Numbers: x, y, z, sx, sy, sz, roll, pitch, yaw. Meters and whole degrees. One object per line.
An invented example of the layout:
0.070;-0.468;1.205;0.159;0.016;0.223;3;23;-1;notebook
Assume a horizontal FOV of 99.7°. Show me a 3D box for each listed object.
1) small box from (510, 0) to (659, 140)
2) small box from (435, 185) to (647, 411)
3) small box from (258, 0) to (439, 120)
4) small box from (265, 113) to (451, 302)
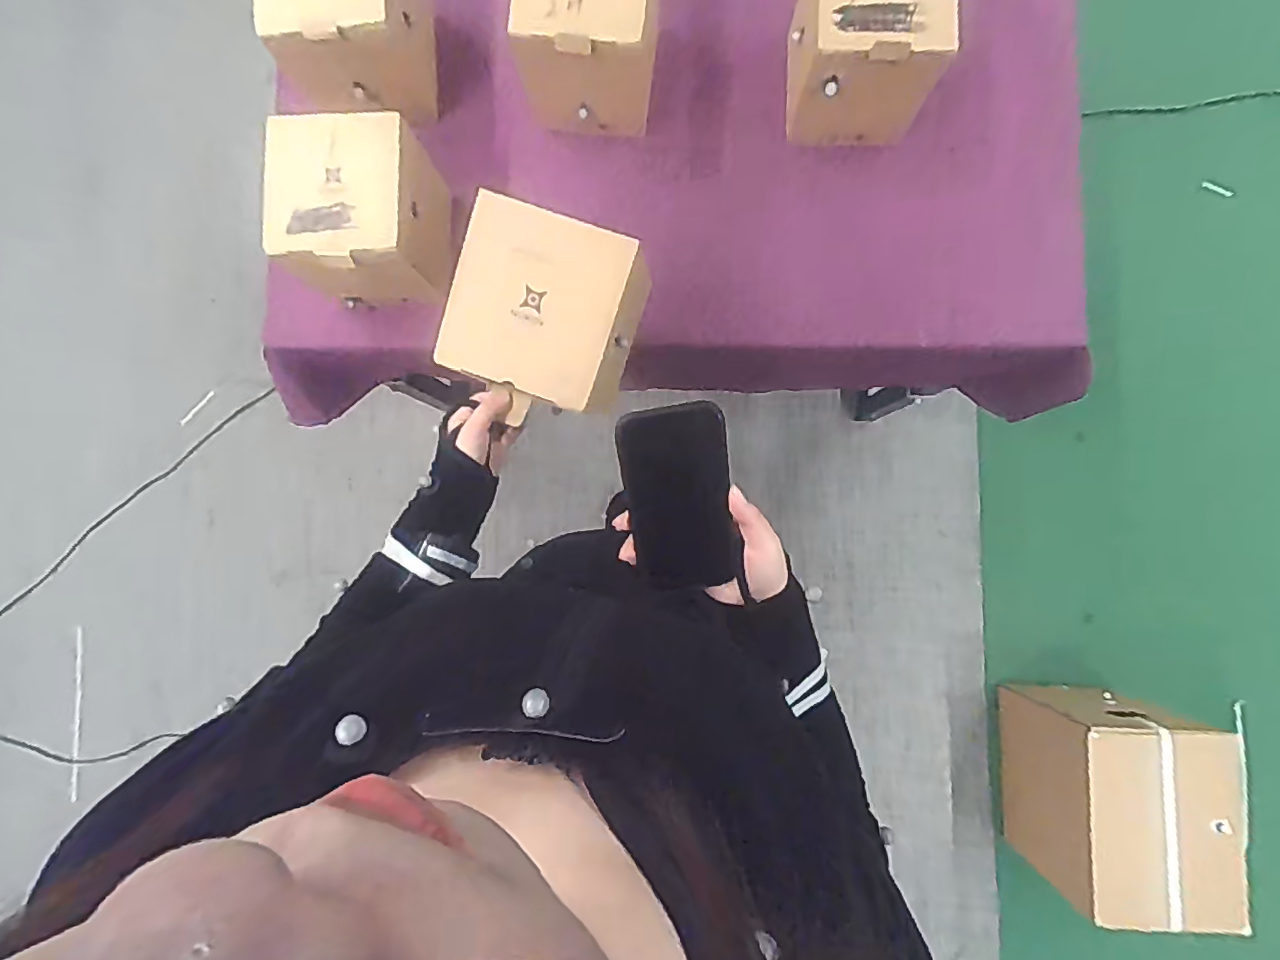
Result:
-0.065;-0.609;0.737;0.168;0.176;0.179;7;87;3;small box
-0.097;-0.187;0.608;0.168;0.176;0.179;20;99;2;small box
-0.391;-0.630;0.748;0.168;0.176;0.179;-4;88;1;small box
-0.366;-0.352;0.731;0.168;0.176;0.179;-1;85;1;small box
